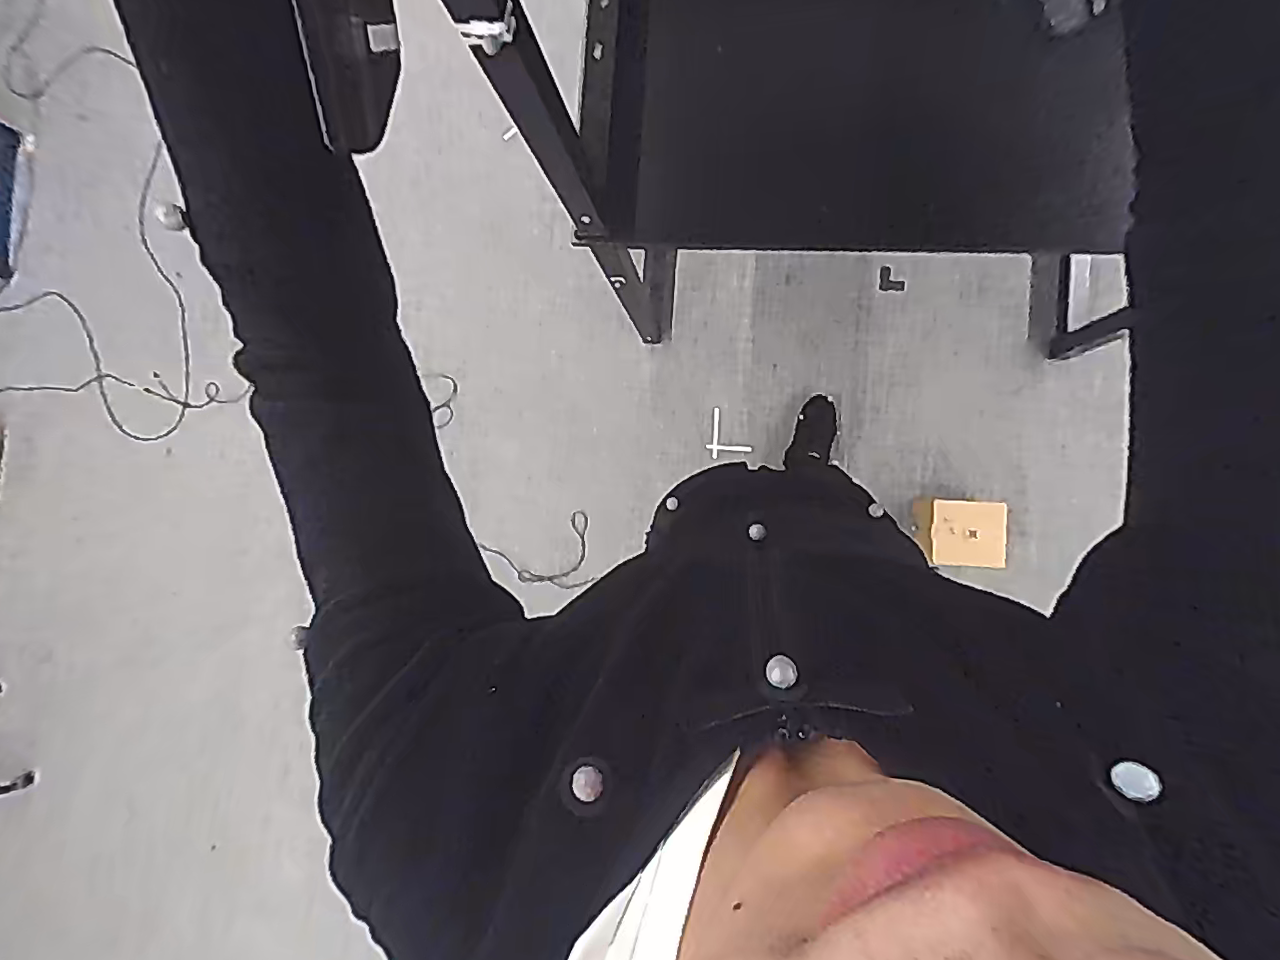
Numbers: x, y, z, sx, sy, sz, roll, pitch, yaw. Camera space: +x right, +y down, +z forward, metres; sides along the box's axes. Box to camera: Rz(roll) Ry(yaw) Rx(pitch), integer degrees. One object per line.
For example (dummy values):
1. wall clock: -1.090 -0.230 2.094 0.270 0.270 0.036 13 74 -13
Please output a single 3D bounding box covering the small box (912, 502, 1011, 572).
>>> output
1. small box: 0.851 0.145 1.443 0.179 0.176 0.168 3 89 10
